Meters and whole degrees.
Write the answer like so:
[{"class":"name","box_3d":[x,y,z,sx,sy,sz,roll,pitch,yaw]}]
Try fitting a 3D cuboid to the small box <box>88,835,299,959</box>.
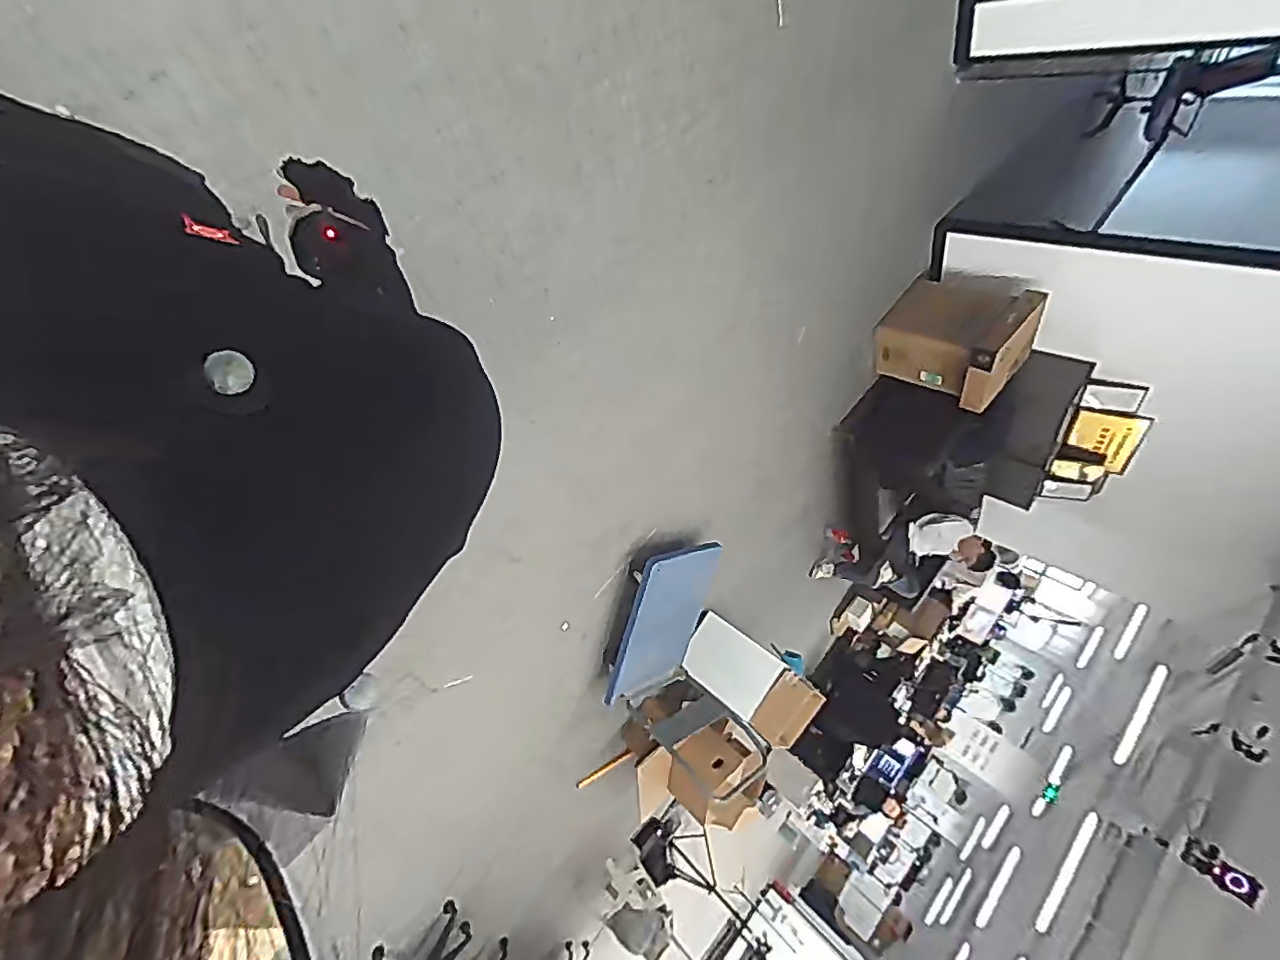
[{"class":"small box","box_3d":[-0.675,0.679,0.821,0.168,0.176,0.179,-47,141,-16]}]
